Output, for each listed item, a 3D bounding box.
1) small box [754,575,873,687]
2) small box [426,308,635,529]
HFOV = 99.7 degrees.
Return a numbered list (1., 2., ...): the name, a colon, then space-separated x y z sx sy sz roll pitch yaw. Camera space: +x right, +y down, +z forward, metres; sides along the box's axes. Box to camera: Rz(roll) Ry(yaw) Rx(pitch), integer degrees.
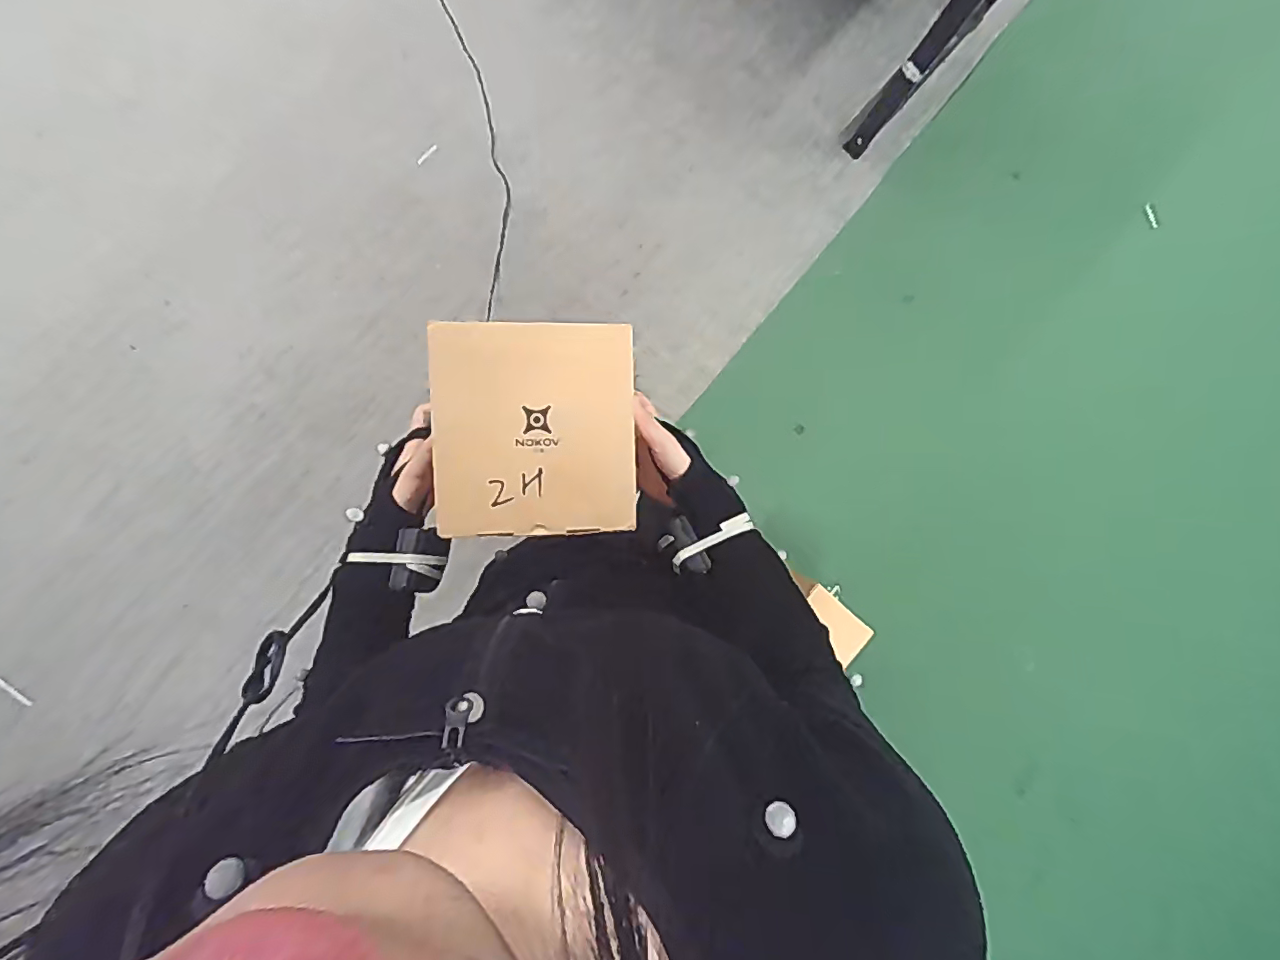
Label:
1. small box: 0.401 0.345 1.280 0.179 0.176 0.168 41 88 -3
2. small box: -0.098 -0.054 0.514 0.168 0.176 0.179 -2 95 -8
